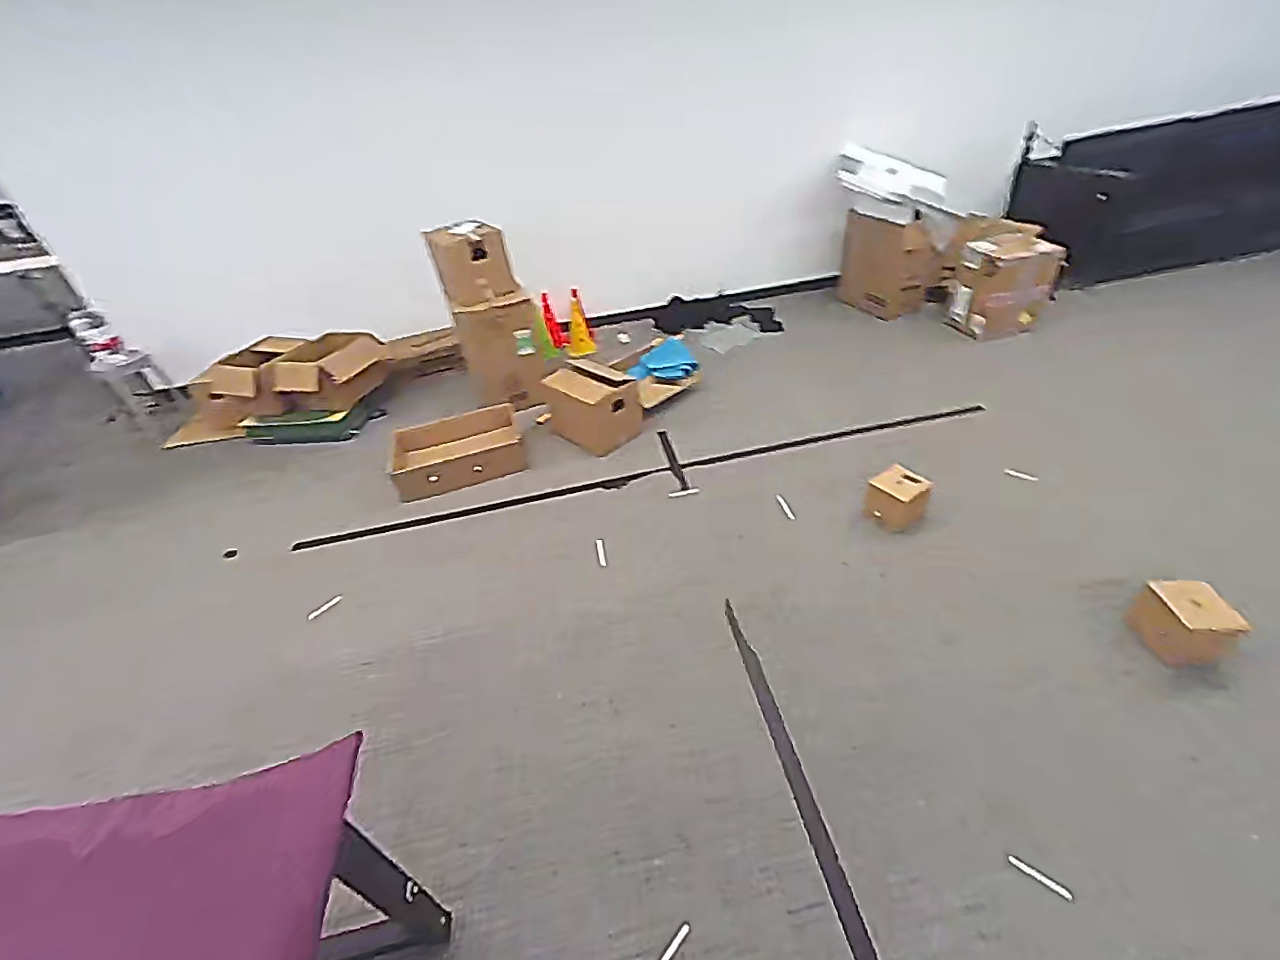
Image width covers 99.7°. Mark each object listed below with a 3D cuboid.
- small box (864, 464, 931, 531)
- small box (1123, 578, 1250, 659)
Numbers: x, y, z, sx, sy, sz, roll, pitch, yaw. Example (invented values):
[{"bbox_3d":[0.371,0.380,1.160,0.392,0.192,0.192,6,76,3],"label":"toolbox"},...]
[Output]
[{"bbox_3d":[1.013,0.070,2.143,0.179,0.176,0.168,-27,41,-22],"label":"small box"},{"bbox_3d":[1.607,0.414,1.604,0.168,0.176,0.179,-3,37,4],"label":"small box"}]
